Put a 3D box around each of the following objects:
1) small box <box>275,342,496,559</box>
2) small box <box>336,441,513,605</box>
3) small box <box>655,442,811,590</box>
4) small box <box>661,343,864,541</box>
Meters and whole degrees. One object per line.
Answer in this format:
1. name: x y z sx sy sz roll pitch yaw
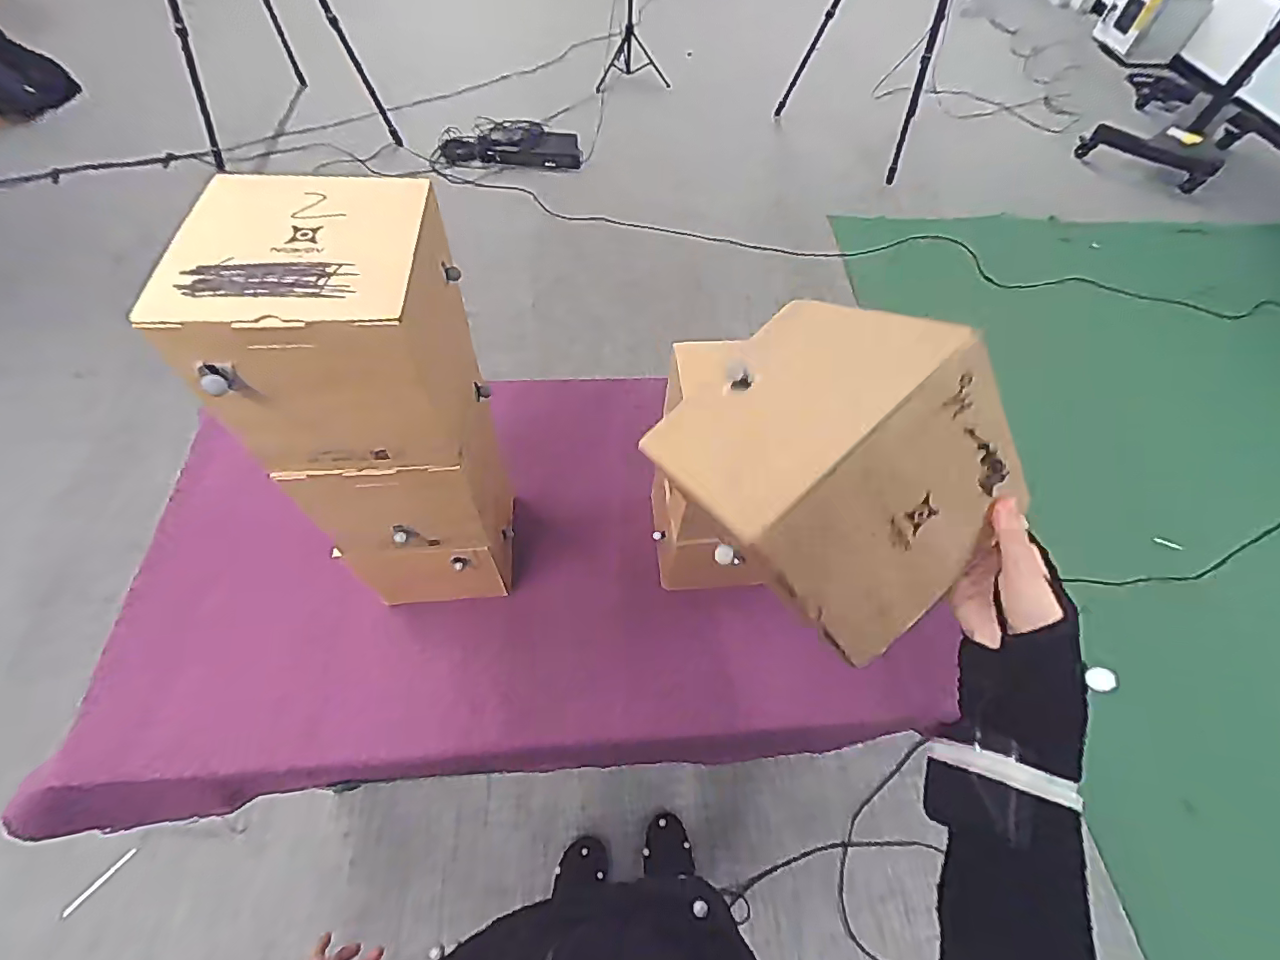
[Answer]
1. small box: -0.258 -0.031 0.599 0.168 0.176 0.179 -4 57 -7
2. small box: -0.275 0.062 0.735 0.179 0.176 0.168 -3 57 -7
3. small box: 0.116 0.050 0.768 0.179 0.176 0.168 -2 58 -6
4. small box: 0.124 -0.039 0.630 0.179 0.176 0.168 -3 58 -5
